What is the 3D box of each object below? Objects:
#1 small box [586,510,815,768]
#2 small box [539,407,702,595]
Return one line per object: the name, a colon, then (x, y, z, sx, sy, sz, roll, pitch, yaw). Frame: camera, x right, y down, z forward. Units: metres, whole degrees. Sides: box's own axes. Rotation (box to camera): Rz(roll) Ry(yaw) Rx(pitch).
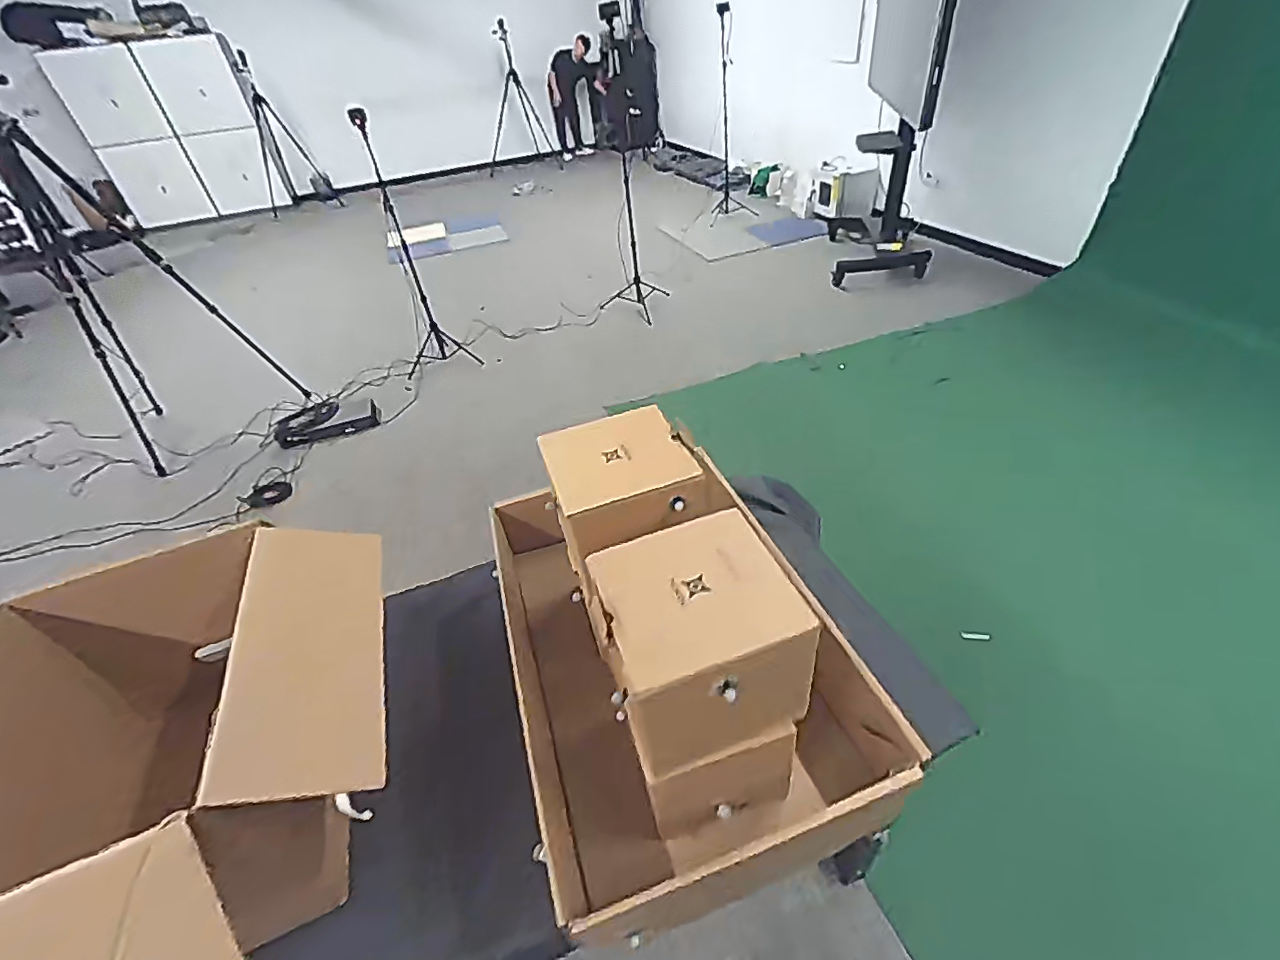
small box: (0.059, 0.165, 0.565, 0.179, 0.176, 0.168, -17, 41, -10)
small box: (-0.022, 0.030, 0.737, 0.179, 0.176, 0.168, -17, 43, -11)
